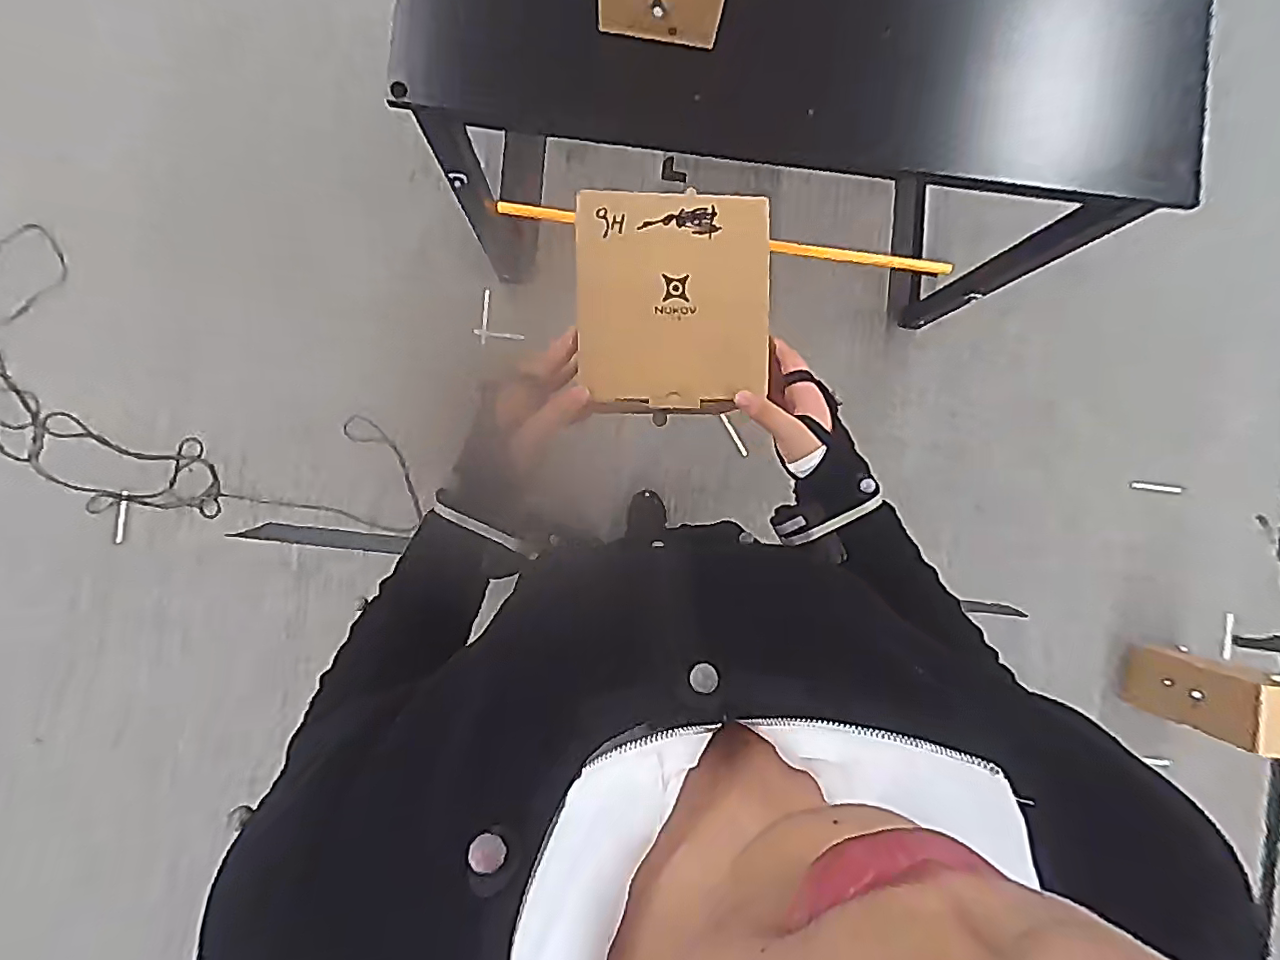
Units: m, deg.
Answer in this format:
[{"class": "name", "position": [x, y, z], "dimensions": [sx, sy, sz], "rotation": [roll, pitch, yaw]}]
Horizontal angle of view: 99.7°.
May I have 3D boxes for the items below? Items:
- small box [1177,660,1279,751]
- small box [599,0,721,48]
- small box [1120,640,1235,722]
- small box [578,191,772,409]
[{"class": "small box", "position": [1.516, 0.559, 1.352], "dimensions": [0.179, 0.176, 0.168], "rotation": [4, 88, -2]}, {"class": "small box", "position": [0.035, -0.715, 0.692], "dimensions": [0.168, 0.176, 0.179], "rotation": [7, 89, -3]}, {"class": "small box", "position": [1.504, 0.564, 1.514], "dimensions": [0.168, 0.176, 0.179], "rotation": [9, 91, -3]}, {"class": "small box", "position": [0.024, -0.160, 0.539], "dimensions": [0.168, 0.176, 0.179], "rotation": [-1, 95, -5]}]
